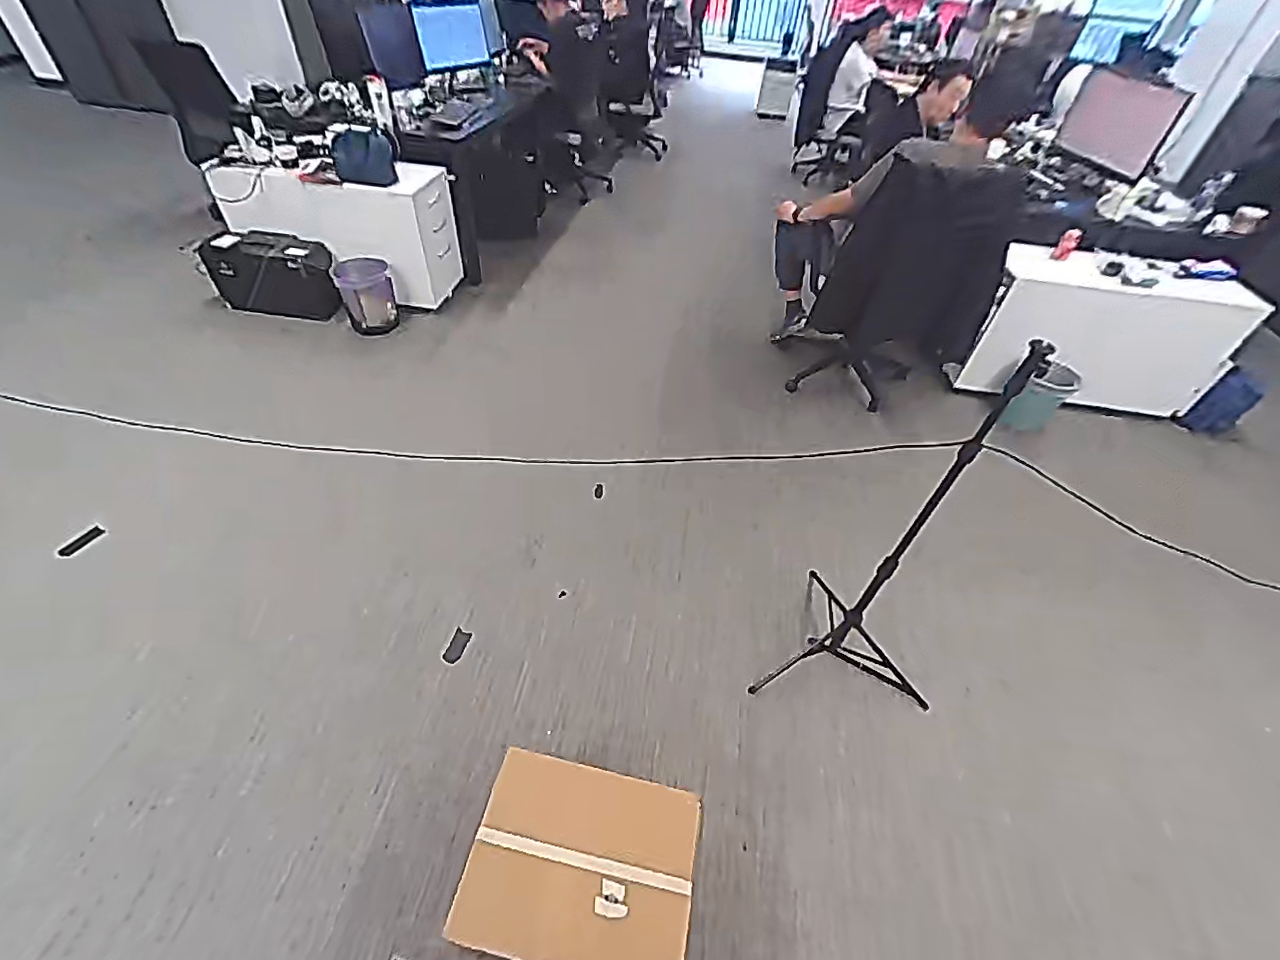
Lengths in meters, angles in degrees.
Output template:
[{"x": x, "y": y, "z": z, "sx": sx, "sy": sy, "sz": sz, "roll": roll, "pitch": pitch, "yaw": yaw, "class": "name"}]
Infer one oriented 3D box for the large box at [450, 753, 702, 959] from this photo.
[{"x": -0.113, "y": 0.806, "z": 1.092, "sx": 0.408, "sy": 0.320, "sz": 0.320, "roll": 12, "pitch": 45, "yaw": 5, "class": "large box"}]
